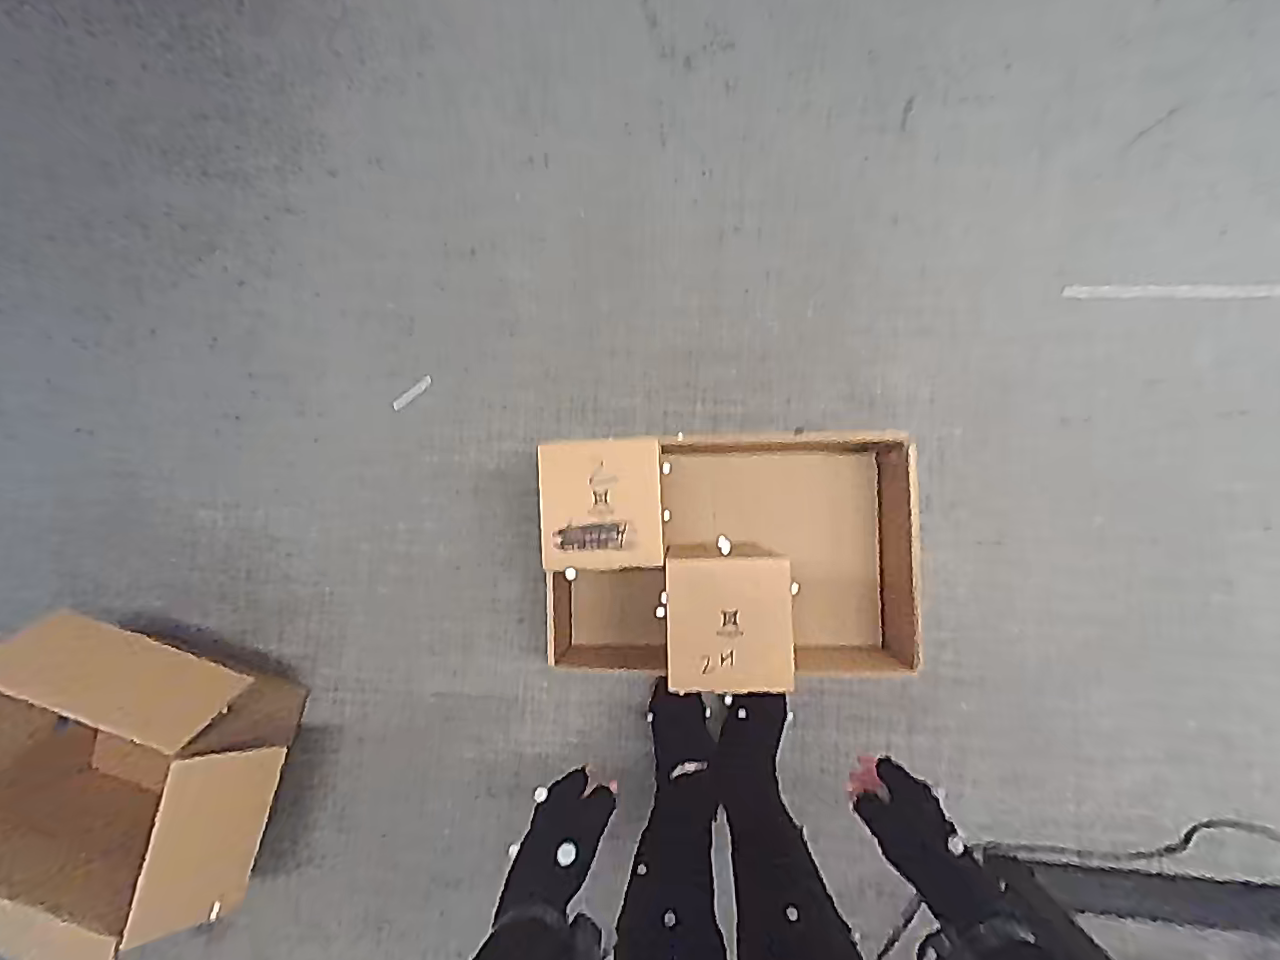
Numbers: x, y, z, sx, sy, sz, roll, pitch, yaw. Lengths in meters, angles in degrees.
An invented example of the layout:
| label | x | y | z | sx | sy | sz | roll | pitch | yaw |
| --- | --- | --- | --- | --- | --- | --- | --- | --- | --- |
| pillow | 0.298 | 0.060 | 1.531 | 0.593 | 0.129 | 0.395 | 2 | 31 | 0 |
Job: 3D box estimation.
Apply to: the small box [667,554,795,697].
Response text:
| label | x | y | z | sx | sy | sz | roll | pitch | yaw |
| --- | --- | --- | --- | --- | --- | --- | --- | --- | --- |
| small box | 0.123 | 0.199 | 0.787 | 0.168 | 0.176 | 0.179 | -1 | 87 | 3 |
